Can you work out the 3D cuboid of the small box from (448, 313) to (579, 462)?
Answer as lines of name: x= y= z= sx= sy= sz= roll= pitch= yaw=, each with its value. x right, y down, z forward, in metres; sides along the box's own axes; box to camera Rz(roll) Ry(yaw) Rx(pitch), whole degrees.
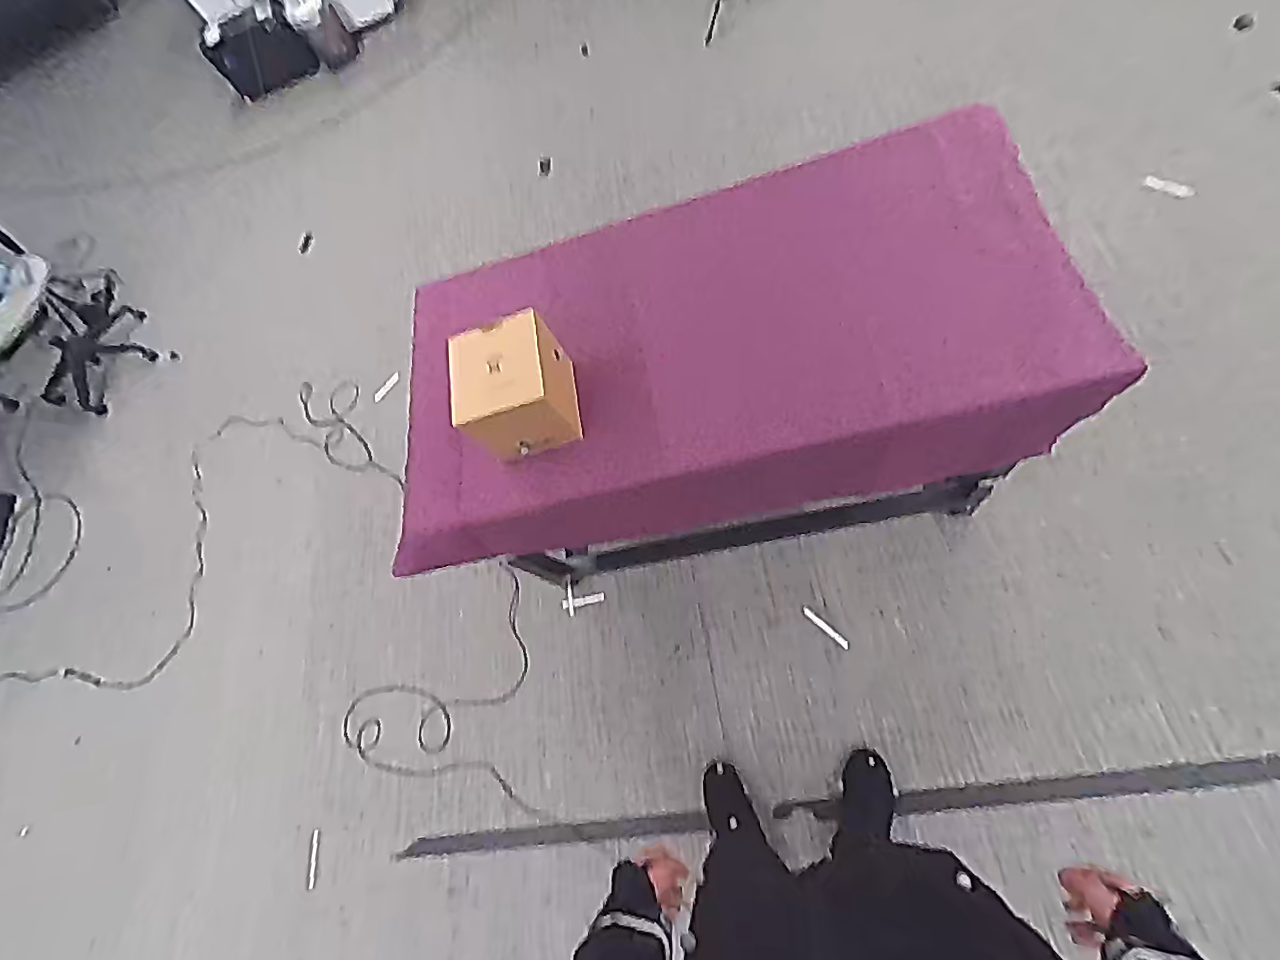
small box: x=-0.219 y=-0.156 z=0.957 sx=0.168 sy=0.176 sz=0.179 roll=-15 pitch=66 yaw=11
